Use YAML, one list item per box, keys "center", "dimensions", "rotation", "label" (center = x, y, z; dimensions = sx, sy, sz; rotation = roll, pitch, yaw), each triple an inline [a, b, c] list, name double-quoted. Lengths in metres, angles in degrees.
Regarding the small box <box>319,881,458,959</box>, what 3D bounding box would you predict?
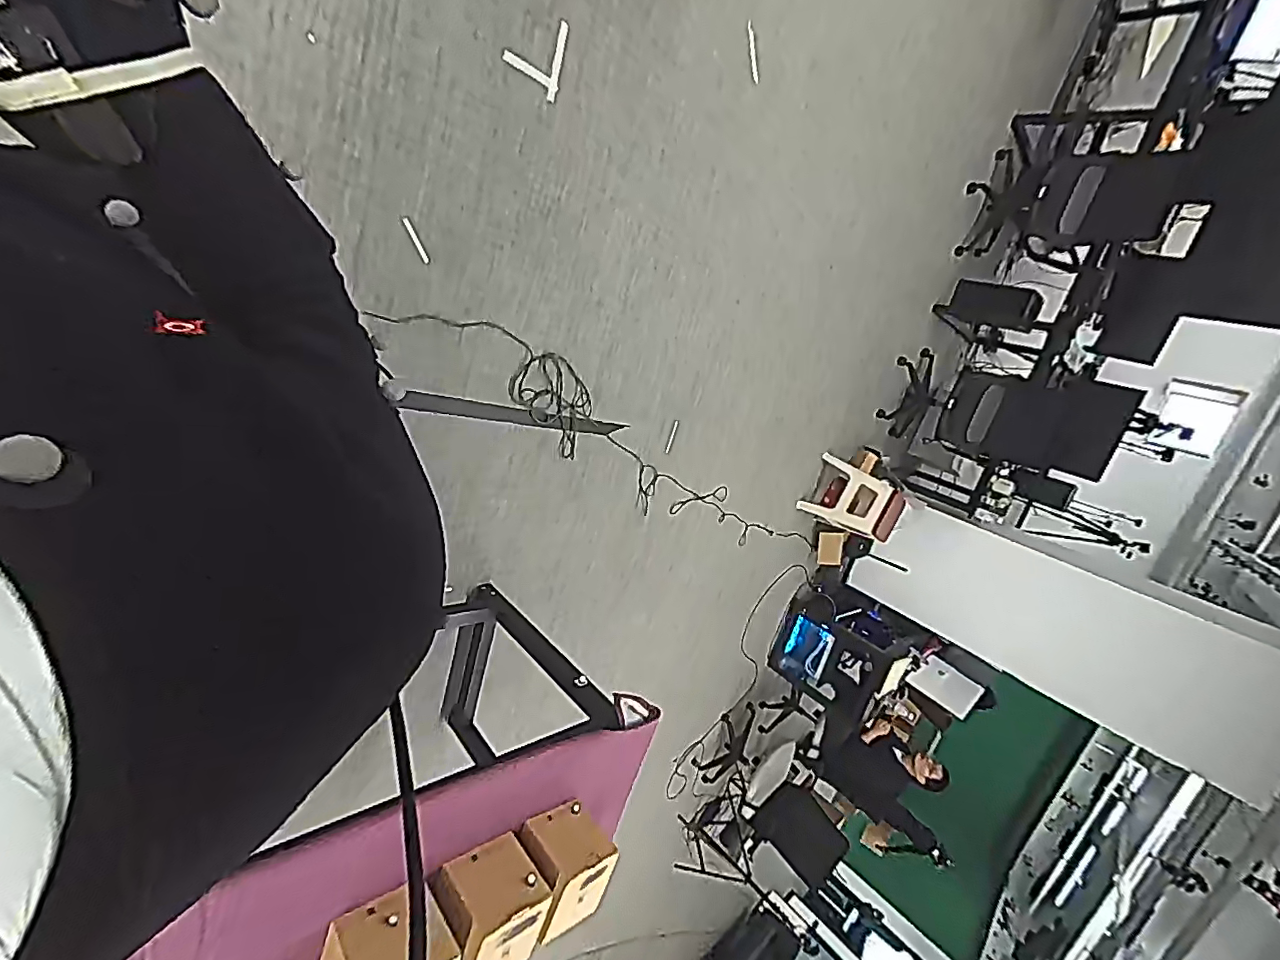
- center: [-0.452, 0.870, 0.950]
  dimensions: [0.168, 0.176, 0.179]
  rotation: [6, 108, -50]
  label: "small box"
